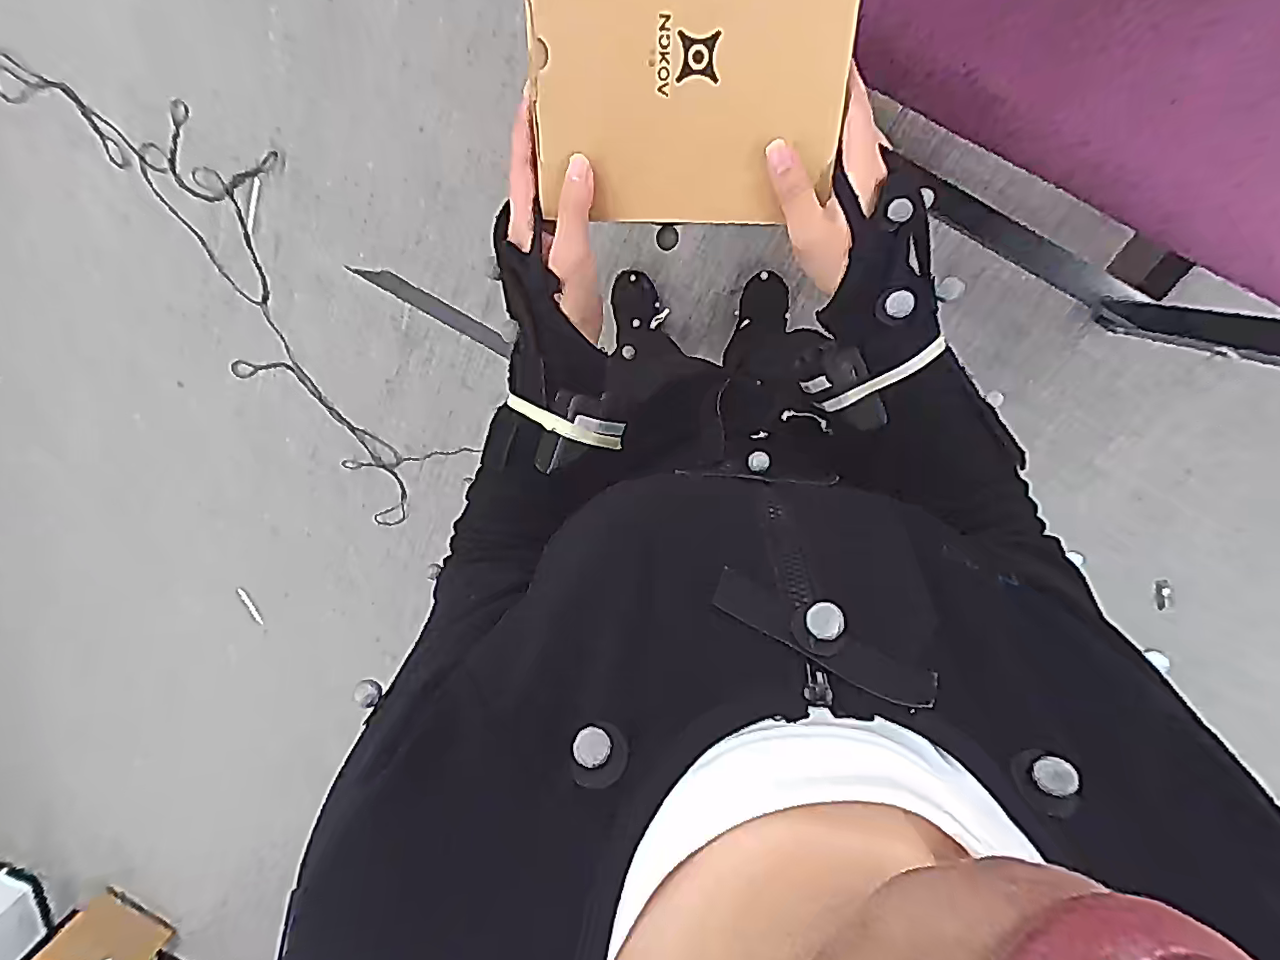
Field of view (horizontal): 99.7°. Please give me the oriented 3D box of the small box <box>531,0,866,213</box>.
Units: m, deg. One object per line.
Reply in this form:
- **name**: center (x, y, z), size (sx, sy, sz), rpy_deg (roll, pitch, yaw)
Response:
- **small box**: center (0.031, -0.270, 0.356), size (0.179, 0.176, 0.168), rpy_deg (1, 116, 1)
